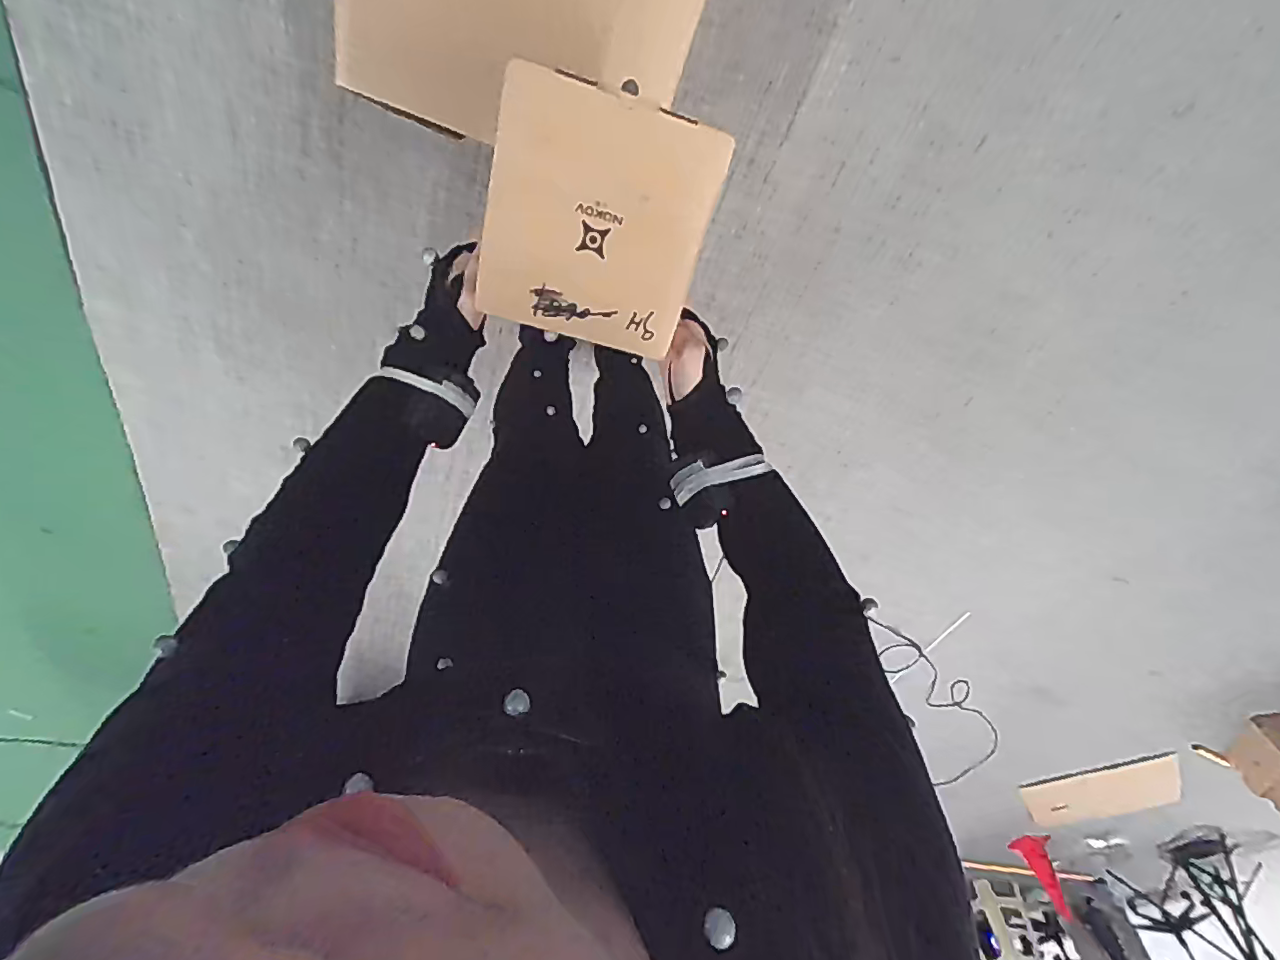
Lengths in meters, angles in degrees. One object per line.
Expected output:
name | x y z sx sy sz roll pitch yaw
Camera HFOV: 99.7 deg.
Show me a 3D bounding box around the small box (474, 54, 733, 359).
small box | -0.039 -0.237 0.487 0.168 0.176 0.179 14 119 -12
